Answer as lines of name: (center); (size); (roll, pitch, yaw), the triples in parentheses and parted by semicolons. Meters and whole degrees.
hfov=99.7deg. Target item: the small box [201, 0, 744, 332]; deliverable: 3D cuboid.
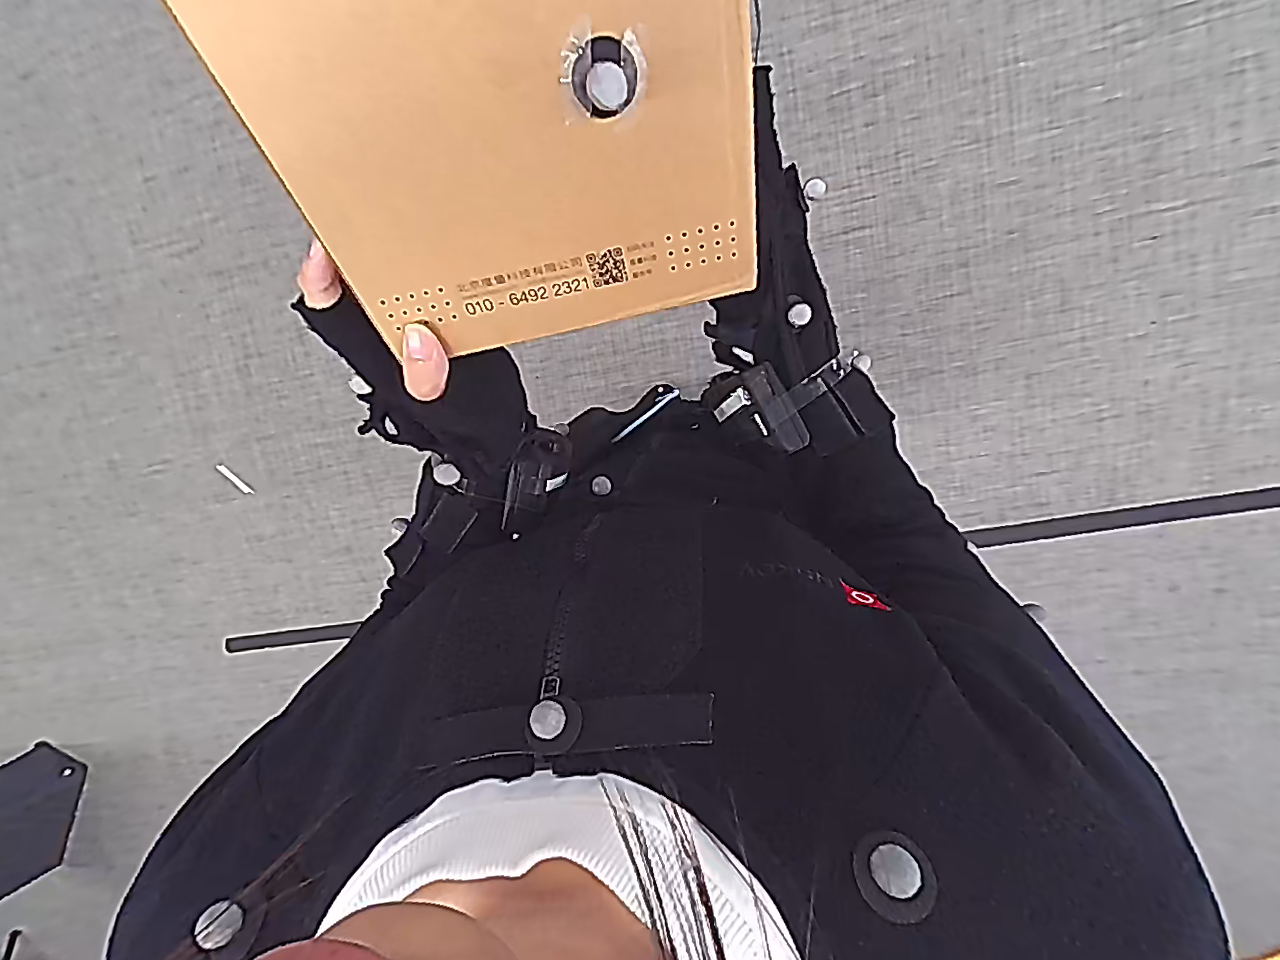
small box: (-0.049, -0.188, 0.257); (0.168, 0.179, 0.176); (-10, 139, 5)
